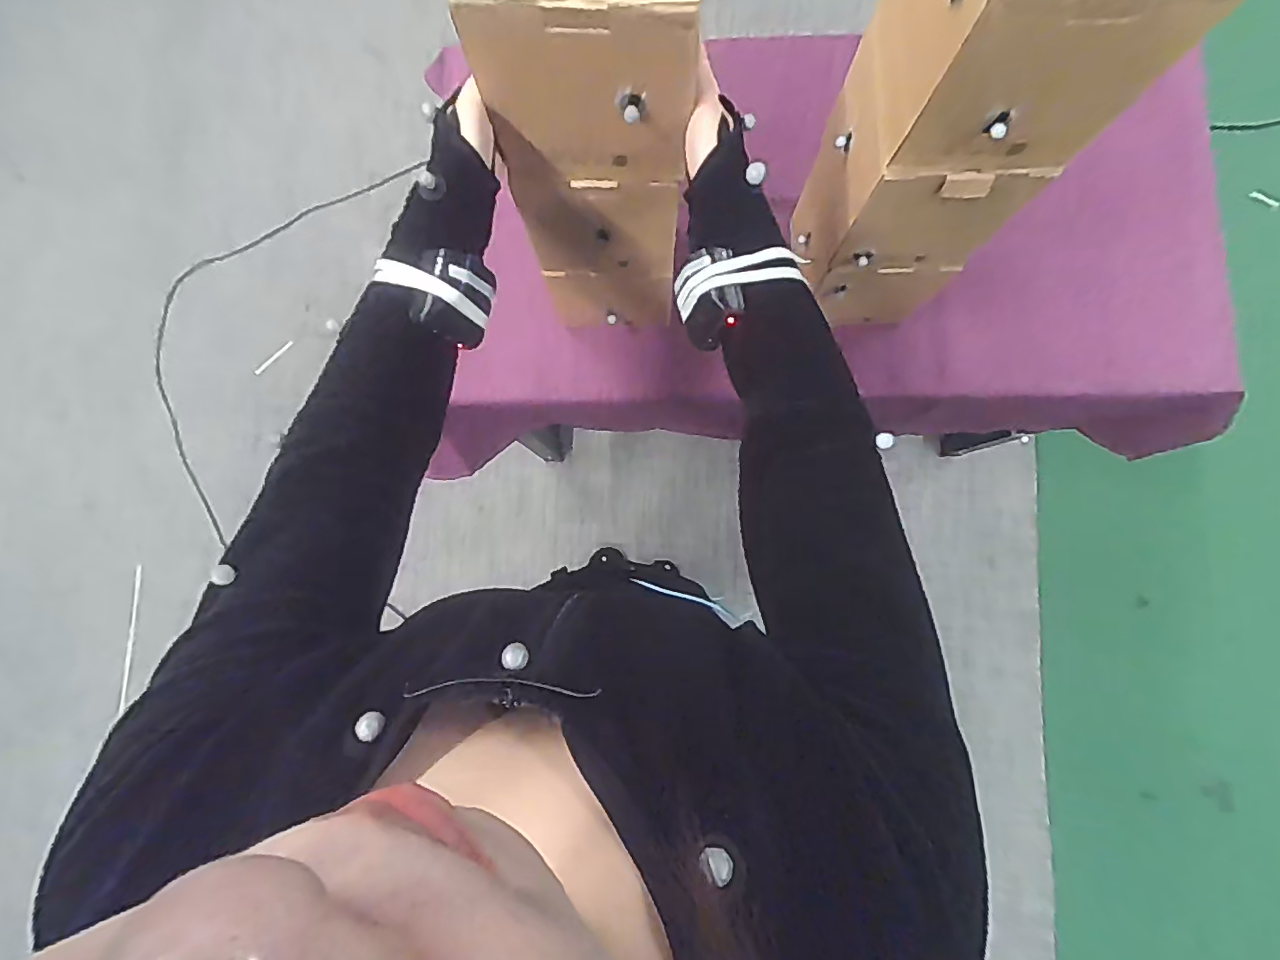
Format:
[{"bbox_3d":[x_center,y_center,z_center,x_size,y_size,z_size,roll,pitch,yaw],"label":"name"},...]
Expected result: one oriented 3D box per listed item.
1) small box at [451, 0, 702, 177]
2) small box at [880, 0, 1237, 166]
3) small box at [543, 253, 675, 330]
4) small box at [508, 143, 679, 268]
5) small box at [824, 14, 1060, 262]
[{"bbox_3d":[-0.034,-0.375,0.434,0.168,0.176,0.179,3,82,1],"label":"small box"},{"bbox_3d":[0.306,-0.385,0.427,0.168,0.176,0.179,-1,83,1],"label":"small box"},{"bbox_3d":[-0.035,-0.328,0.758,0.168,0.176,0.179,1,83,2],"label":"small box"},{"bbox_3d":[-0.040,-0.352,0.596,0.168,0.176,0.179,1,84,1],"label":"small box"},{"bbox_3d":[0.308,-0.355,0.588,0.168,0.176,0.179,0,82,2],"label":"small box"}]
